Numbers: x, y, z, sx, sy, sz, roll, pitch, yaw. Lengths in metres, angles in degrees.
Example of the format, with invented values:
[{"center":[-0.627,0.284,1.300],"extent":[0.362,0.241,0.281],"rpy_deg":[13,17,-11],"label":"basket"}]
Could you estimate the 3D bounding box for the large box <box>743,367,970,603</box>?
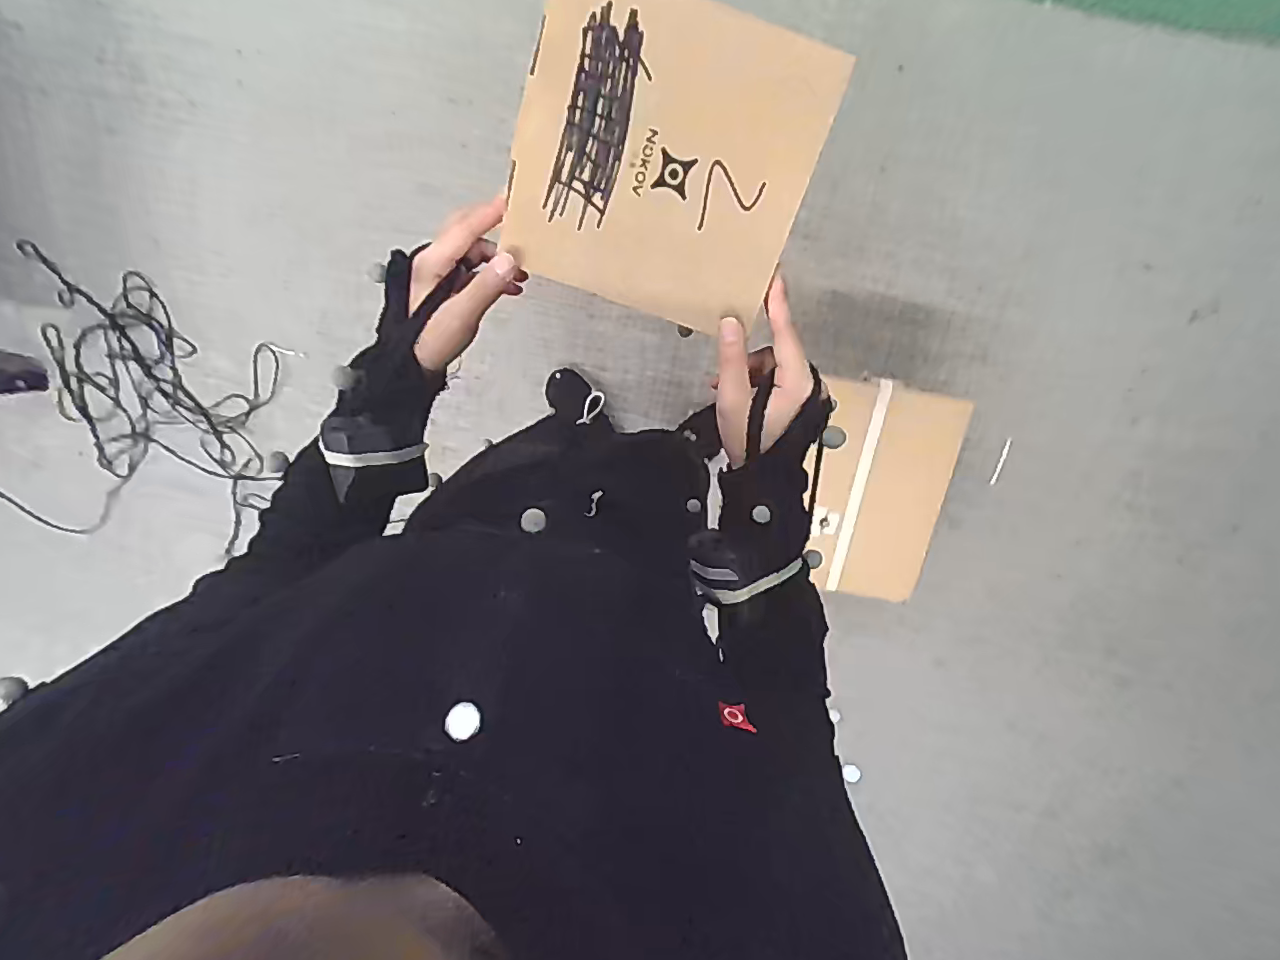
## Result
[{"center":[0.418,-0.012,1.150],"extent":[0.320,0.320,0.408],"rpy_deg":[11,106,4],"label":"large box"}]
